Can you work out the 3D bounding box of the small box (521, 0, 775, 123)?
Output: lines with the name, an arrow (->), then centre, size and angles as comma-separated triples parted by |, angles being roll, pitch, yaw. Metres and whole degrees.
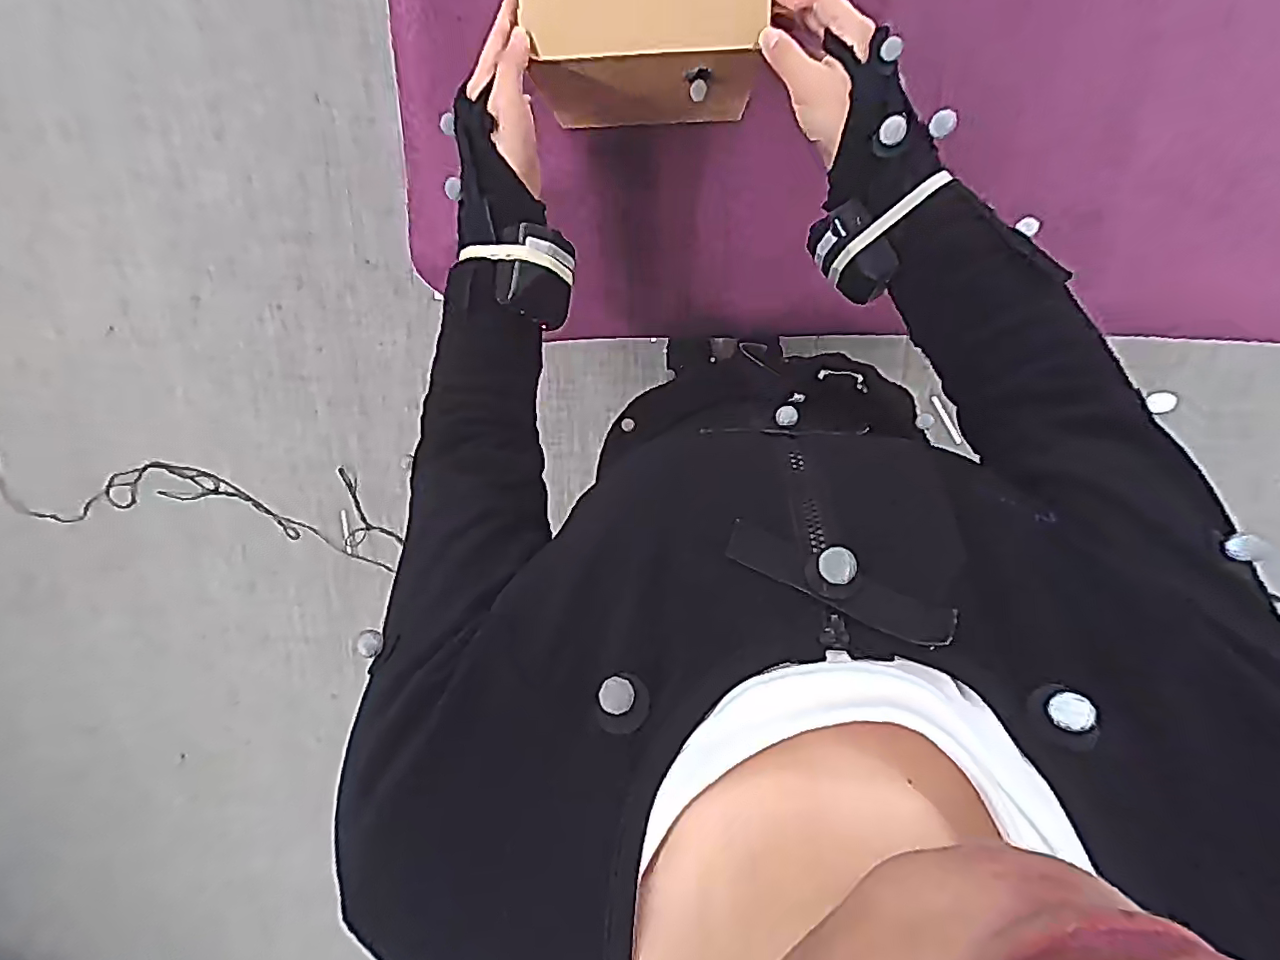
small box -> 0.007, -0.401, 0.425 | 0.179, 0.176, 0.168 | 0, 109, 3
